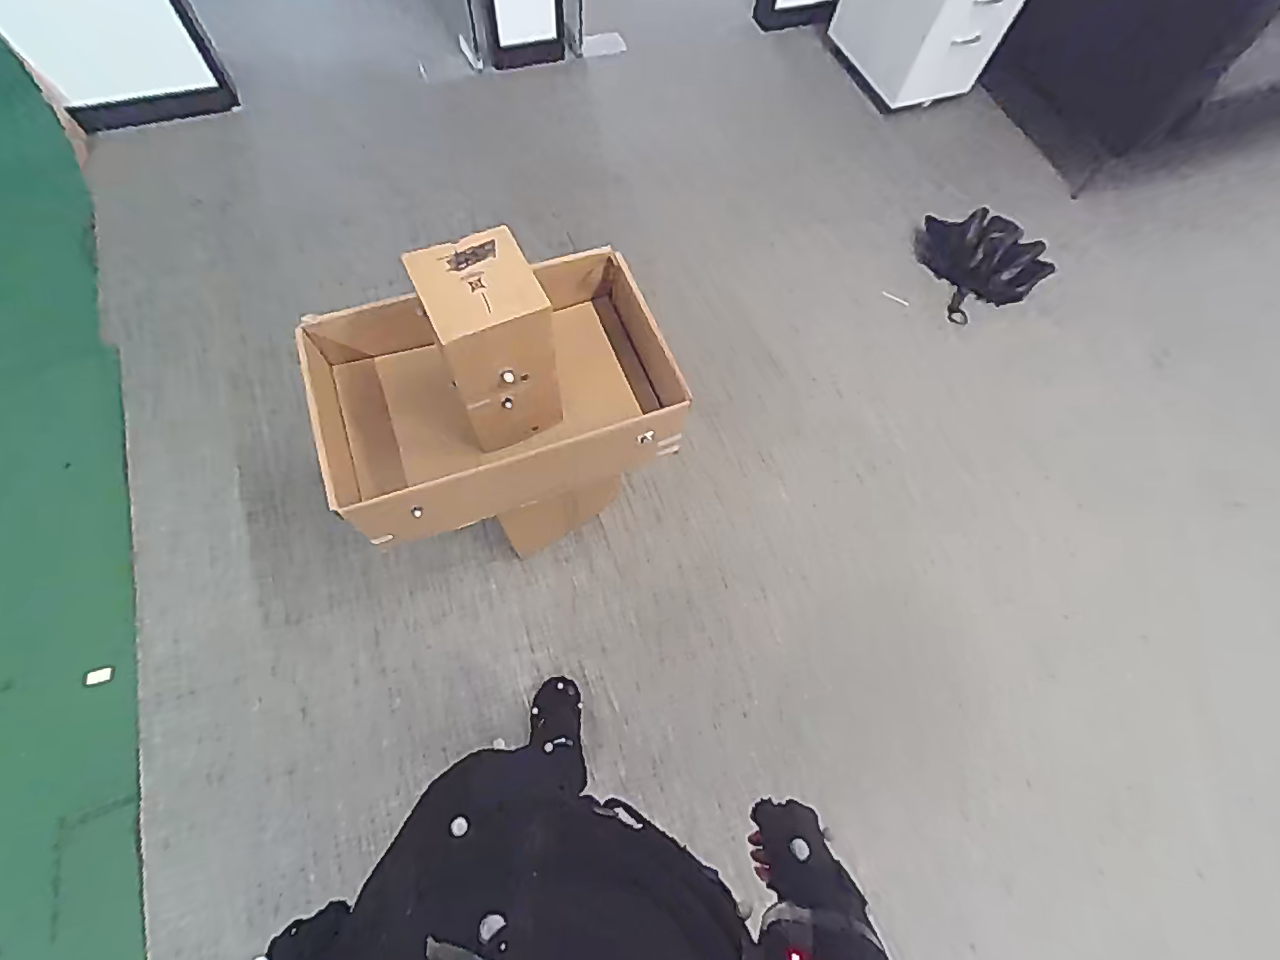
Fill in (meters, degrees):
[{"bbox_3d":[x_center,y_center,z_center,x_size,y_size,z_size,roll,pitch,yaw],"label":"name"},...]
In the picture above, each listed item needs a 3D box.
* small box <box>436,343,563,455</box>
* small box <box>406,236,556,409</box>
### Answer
[{"bbox_3d":[-0.257,-0.177,1.014,0.168,0.176,0.179,-26,69,-14],"label":"small box"},{"bbox_3d":[-0.245,-0.247,0.866,0.168,0.176,0.179,-25,71,-14],"label":"small box"}]
